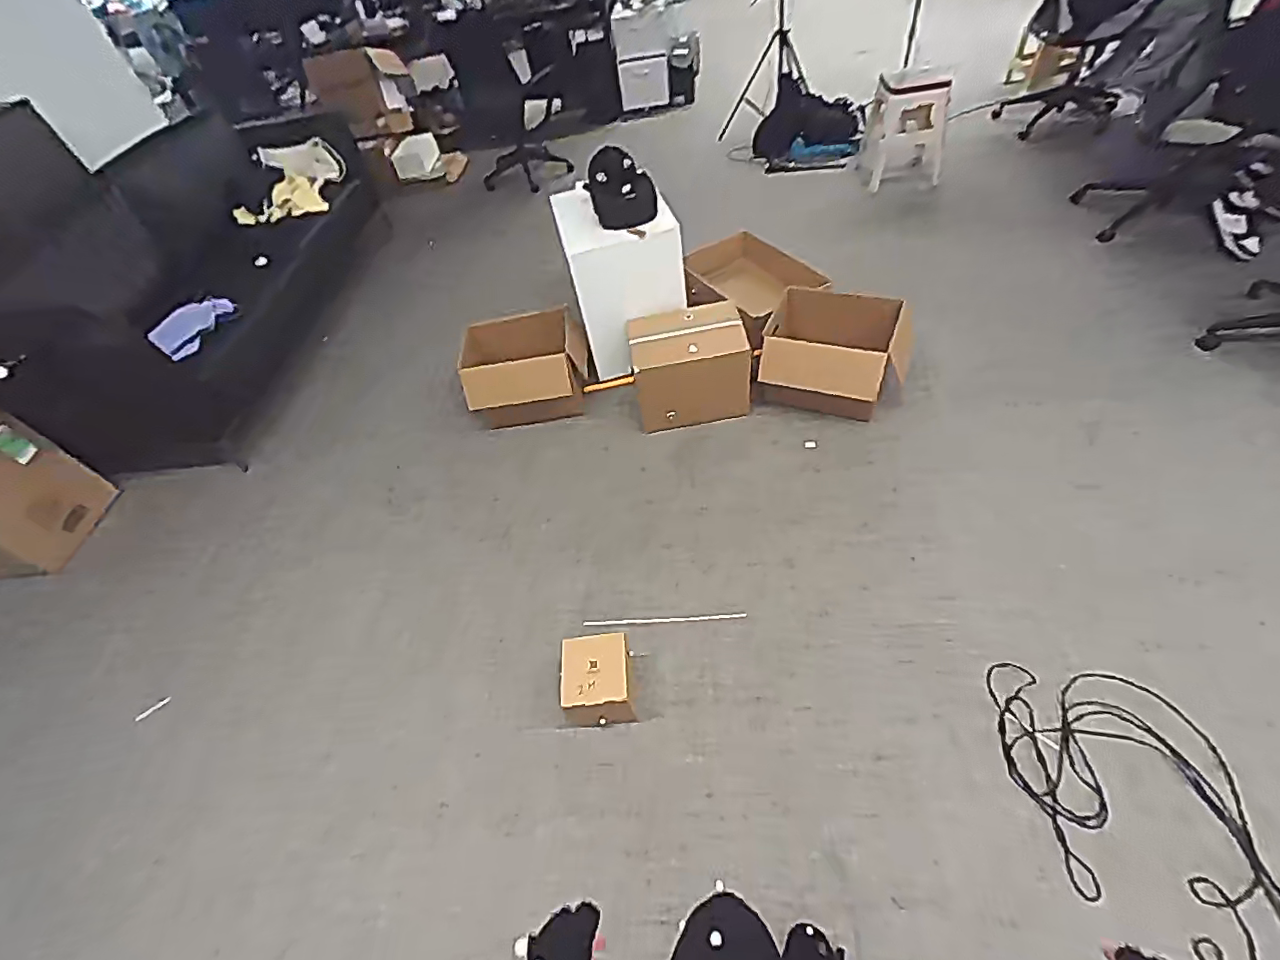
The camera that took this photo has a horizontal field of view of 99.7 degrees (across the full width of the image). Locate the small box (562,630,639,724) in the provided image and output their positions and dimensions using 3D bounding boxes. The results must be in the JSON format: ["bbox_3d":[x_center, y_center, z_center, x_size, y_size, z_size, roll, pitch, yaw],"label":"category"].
[{"bbox_3d":[-0.098,0.514,1.406,0.168,0.176,0.179,-8,50,5],"label":"small box"}]
